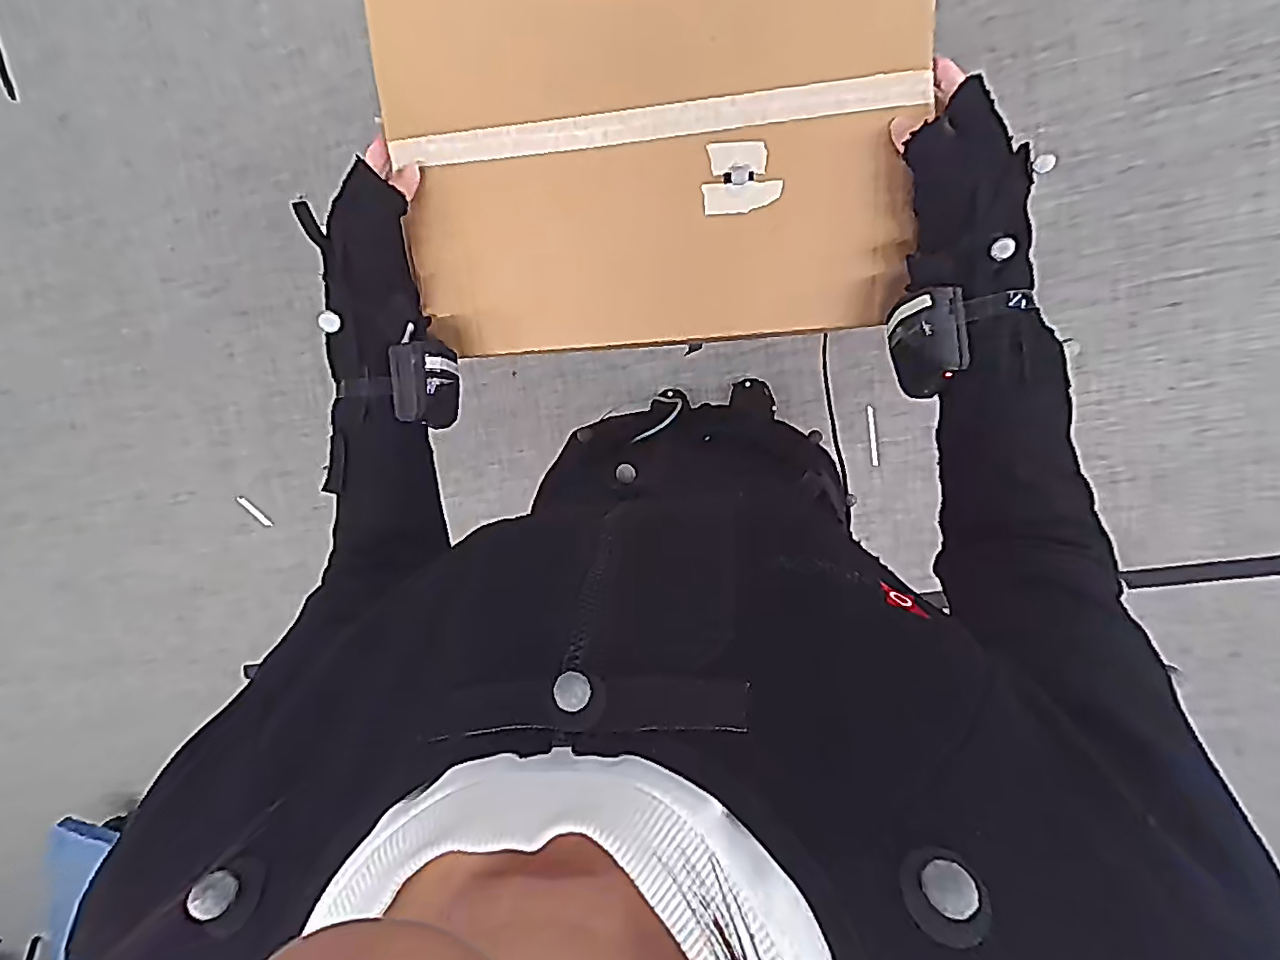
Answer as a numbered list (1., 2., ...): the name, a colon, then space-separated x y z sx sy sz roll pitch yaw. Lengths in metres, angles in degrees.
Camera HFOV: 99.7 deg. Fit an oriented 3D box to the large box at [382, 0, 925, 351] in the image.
1. large box: 0.020 -0.310 0.559 0.408 0.320 0.320 -4 104 6
